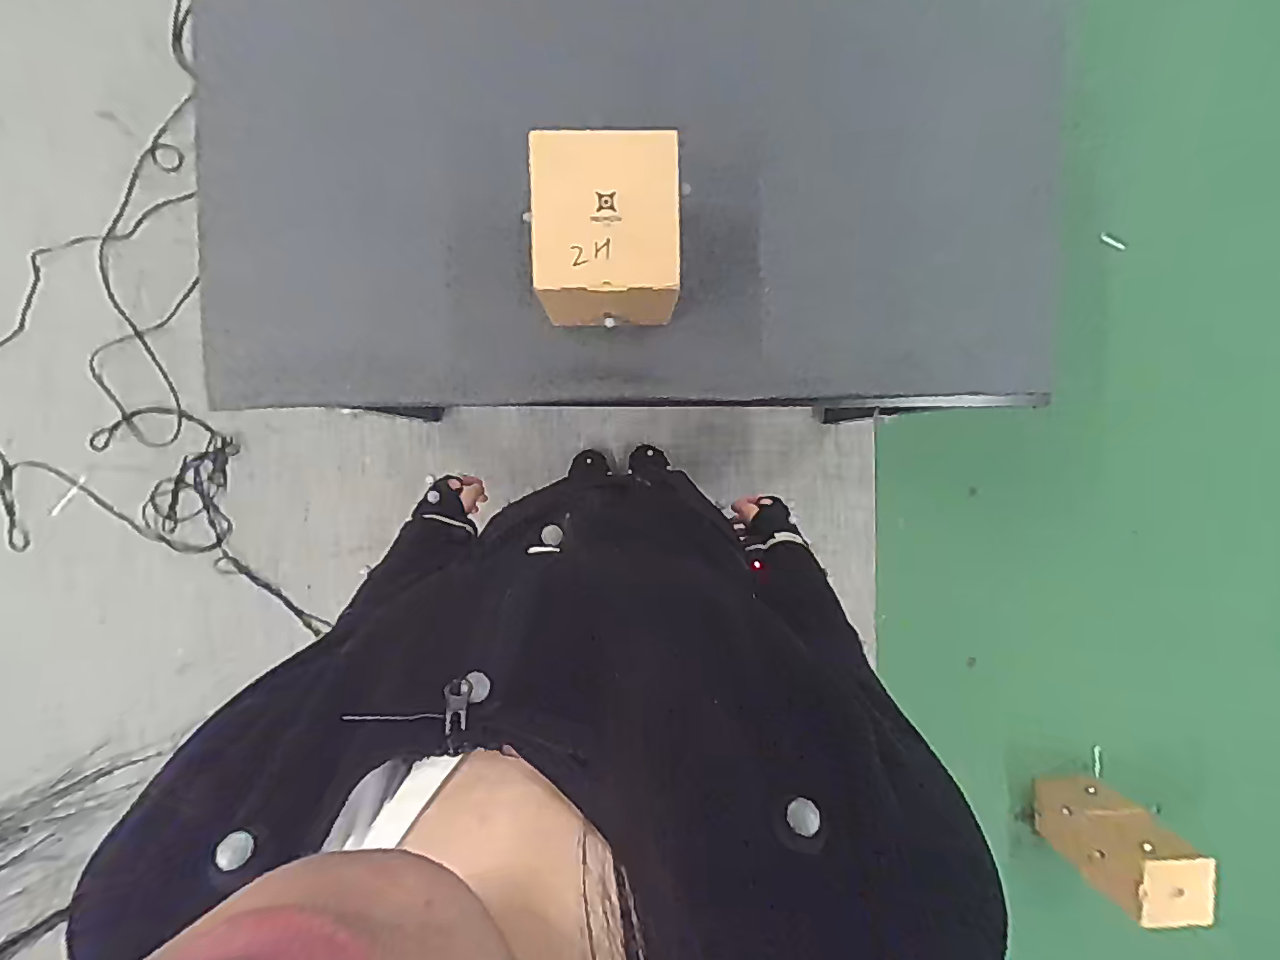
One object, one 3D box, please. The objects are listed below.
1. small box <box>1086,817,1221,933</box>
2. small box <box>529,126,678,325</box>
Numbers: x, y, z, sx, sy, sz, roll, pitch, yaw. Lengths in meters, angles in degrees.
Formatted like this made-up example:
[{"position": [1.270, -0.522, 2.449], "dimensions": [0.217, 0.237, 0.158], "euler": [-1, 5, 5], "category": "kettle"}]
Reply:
[{"position": [1.258, 0.962, 1.332], "dimensions": [0.179, 0.176, 0.168], "euler": [-2, 93, -2], "category": "small box"}, {"position": [-0.043, -0.303, 0.673], "dimensions": [0.168, 0.176, 0.179], "euler": [-1, 92, -1], "category": "small box"}]
